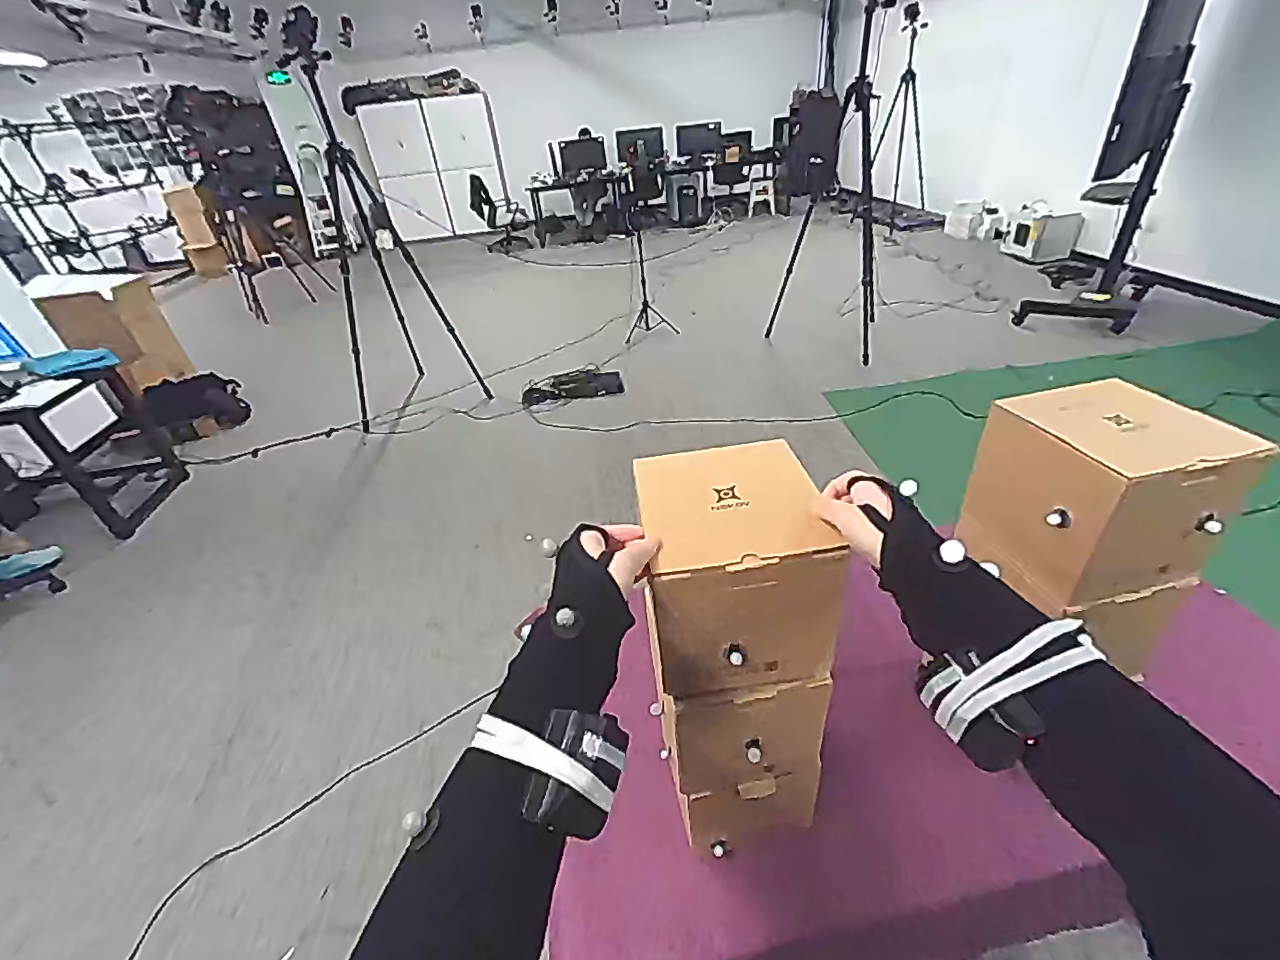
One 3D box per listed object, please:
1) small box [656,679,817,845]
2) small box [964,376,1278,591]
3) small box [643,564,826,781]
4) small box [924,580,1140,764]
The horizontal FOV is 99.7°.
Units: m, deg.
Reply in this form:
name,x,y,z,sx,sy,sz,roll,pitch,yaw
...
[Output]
name,x,y,z,sx,sy,sz,roll,pitch,yaw
small box,0.125,0.366,0.740,0.168,0.176,0.179,-11,34,-6
small box,0.508,0.006,0.608,0.168,0.176,0.179,-11,34,-6
small box,0.104,0.232,0.647,0.168,0.176,0.179,-10,36,-4
small box,0.547,0.277,0.788,0.168,0.176,0.179,-10,35,-3
